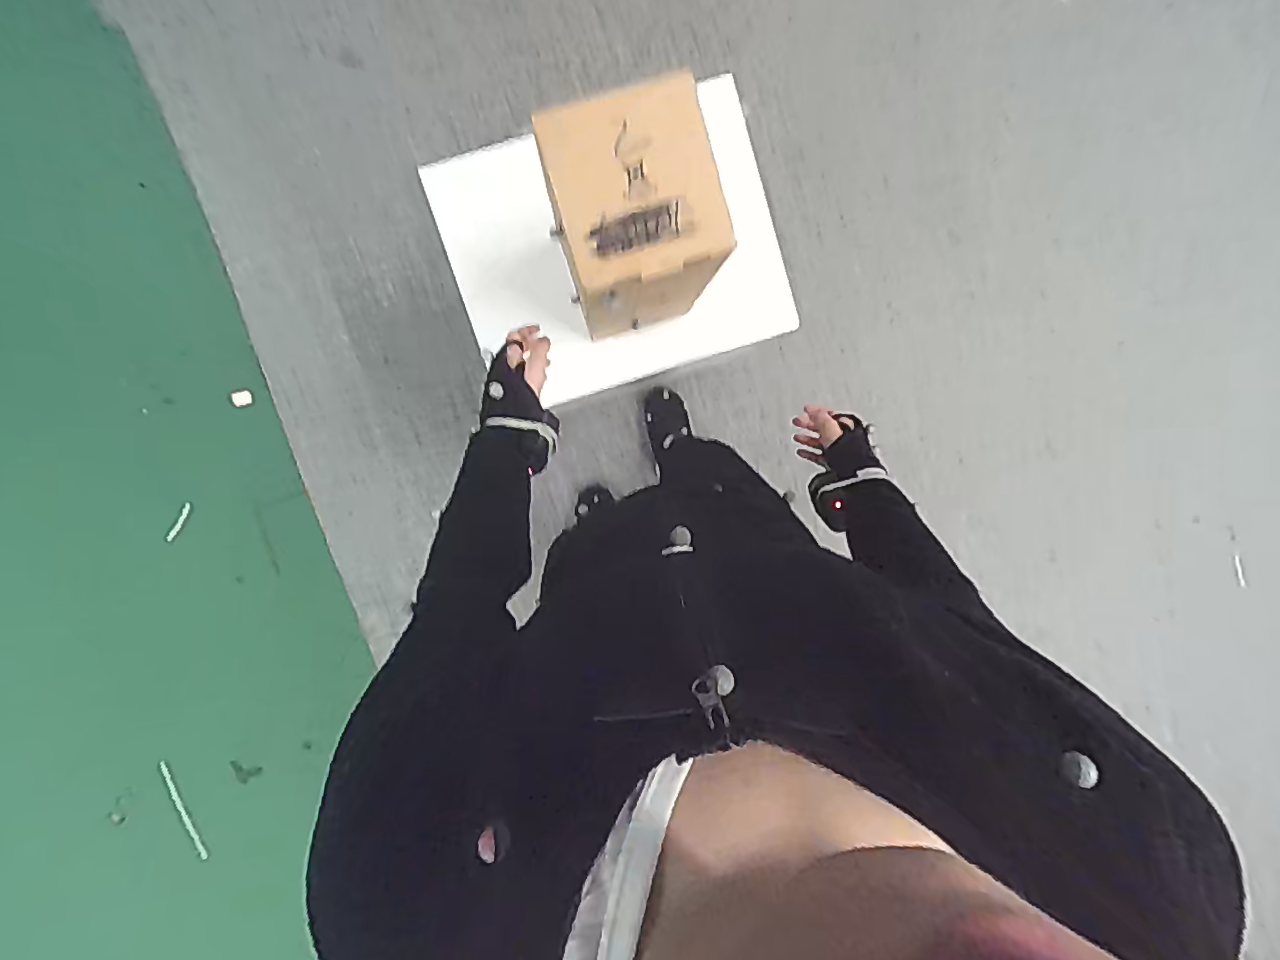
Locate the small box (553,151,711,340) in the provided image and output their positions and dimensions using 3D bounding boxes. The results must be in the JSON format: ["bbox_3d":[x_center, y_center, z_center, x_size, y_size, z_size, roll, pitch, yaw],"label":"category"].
[{"bbox_3d":[-0.015,-0.315,0.763,0.168,0.176,0.179,-18,96,-2],"label":"small box"}]
